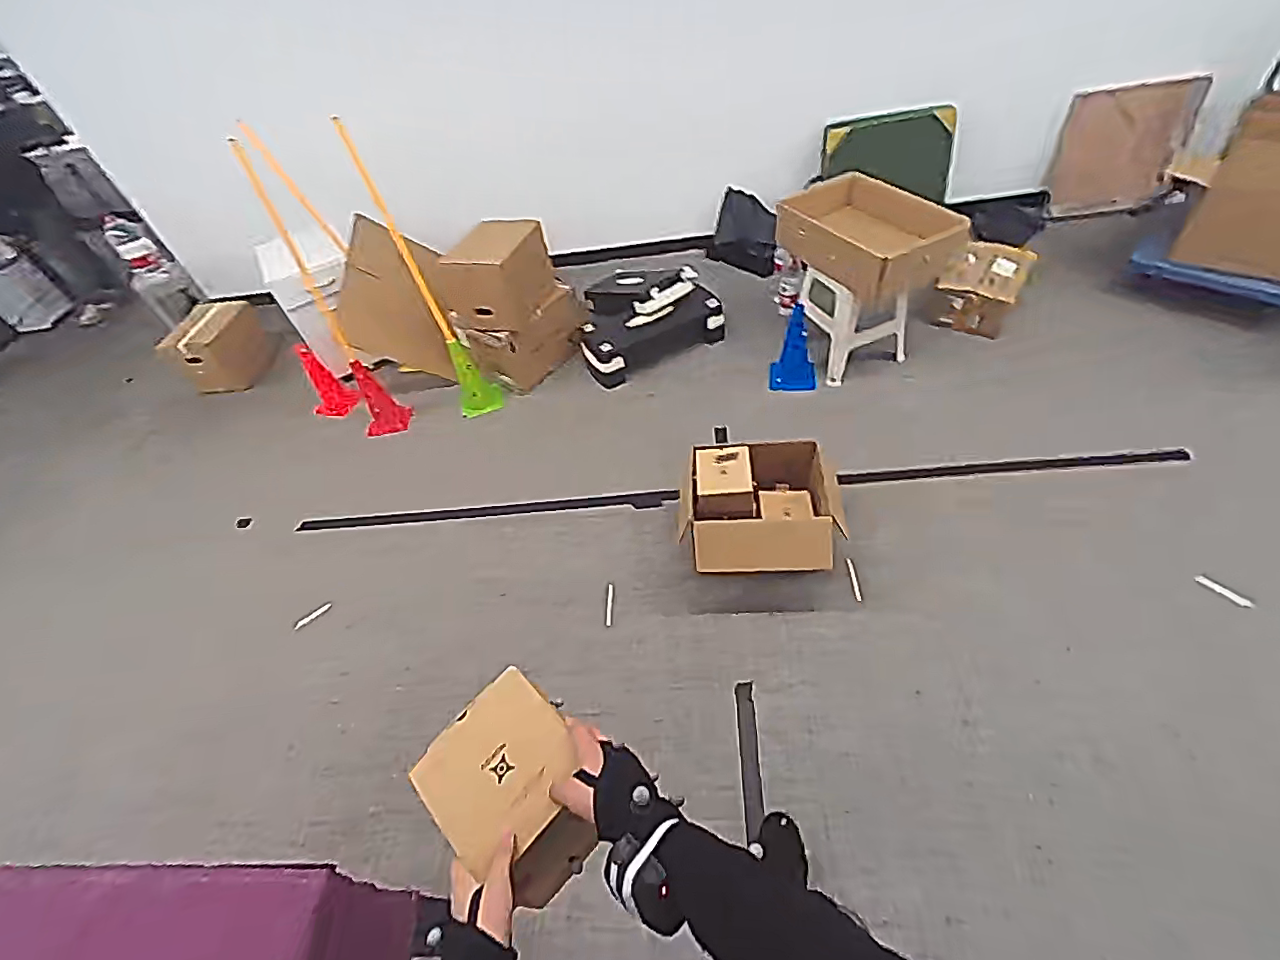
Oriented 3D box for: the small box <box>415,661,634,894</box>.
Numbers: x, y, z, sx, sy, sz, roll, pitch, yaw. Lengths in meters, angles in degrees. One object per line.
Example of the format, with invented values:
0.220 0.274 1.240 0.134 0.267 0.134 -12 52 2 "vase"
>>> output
-0.135 0.369 0.670 0.168 0.176 0.179 -42 50 -20 "small box"
